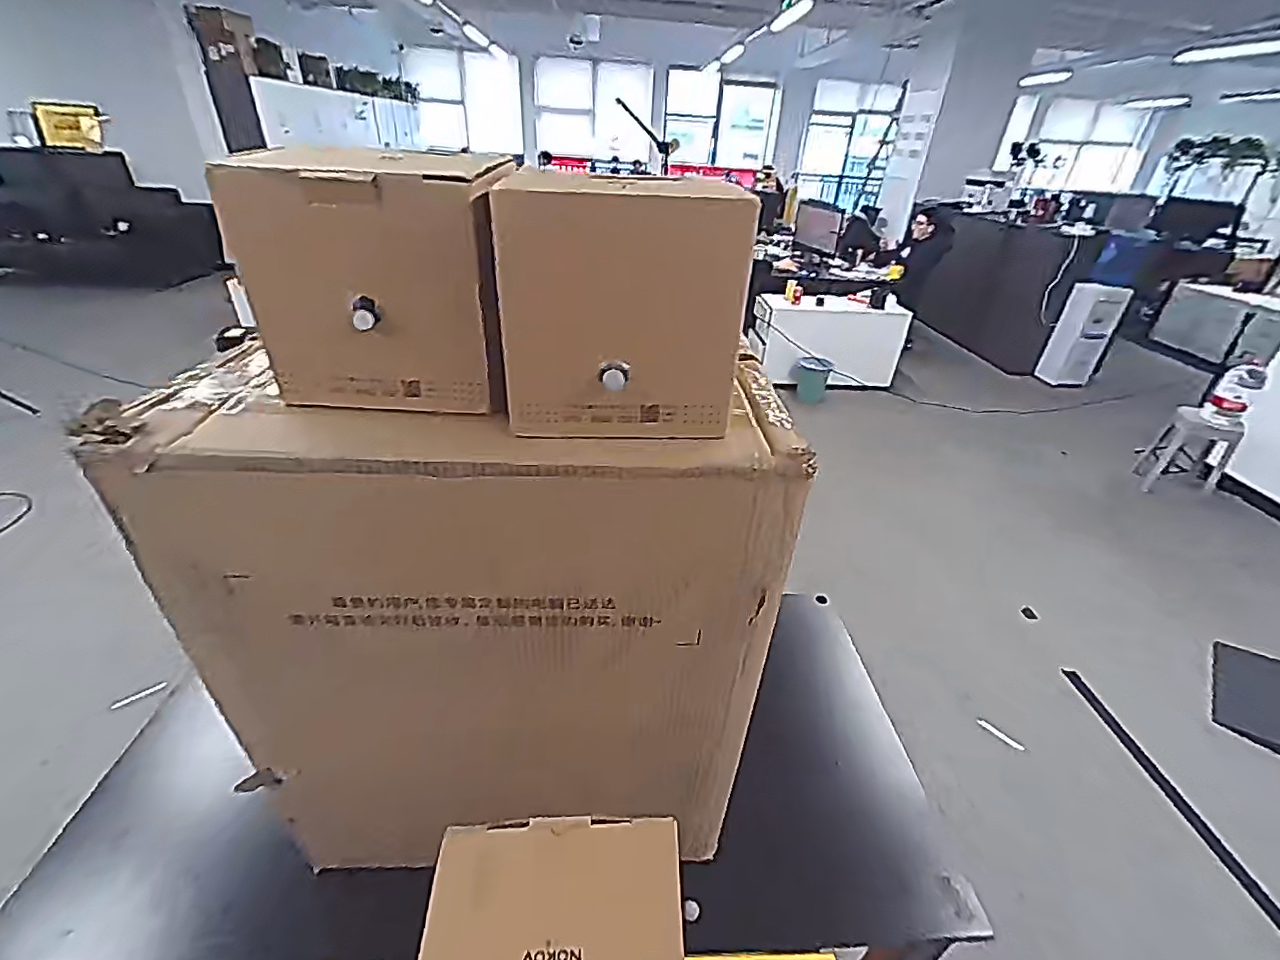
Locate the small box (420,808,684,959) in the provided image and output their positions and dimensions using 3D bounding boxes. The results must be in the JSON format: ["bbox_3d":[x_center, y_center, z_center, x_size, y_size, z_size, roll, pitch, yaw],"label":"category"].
[{"bbox_3d":[-0.054,0.358,0.384,0.168,0.176,0.179,-2,44,-1],"label":"small box"}]
